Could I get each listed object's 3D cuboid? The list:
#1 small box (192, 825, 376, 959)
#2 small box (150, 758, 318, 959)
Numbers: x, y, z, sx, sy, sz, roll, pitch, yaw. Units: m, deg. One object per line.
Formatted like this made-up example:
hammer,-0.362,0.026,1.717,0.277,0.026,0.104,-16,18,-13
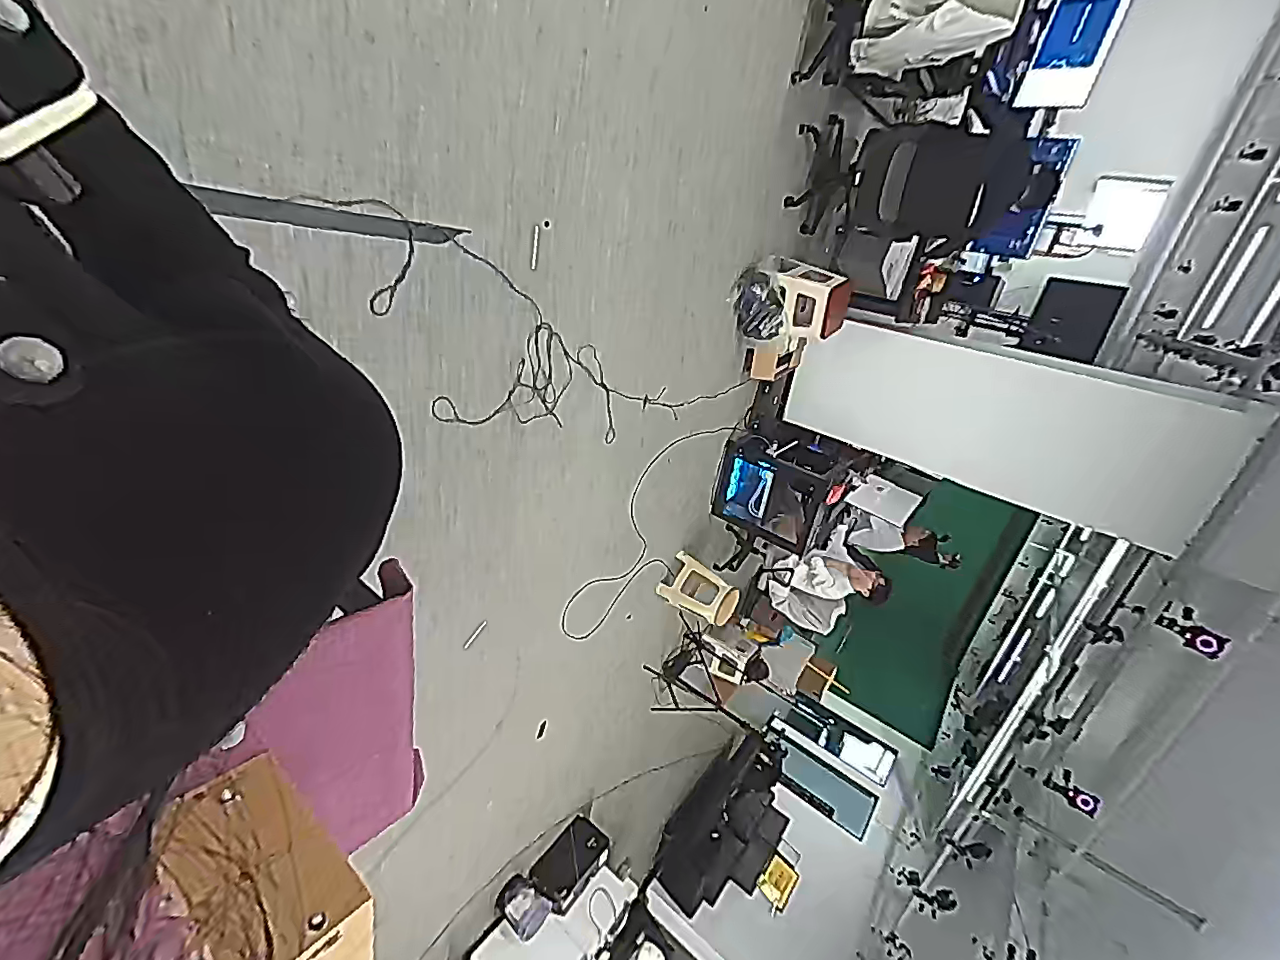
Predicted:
small box,-0.498,0.644,0.762,0.168,0.176,0.179,-18,127,-51
small box,-0.626,0.583,0.844,0.168,0.176,0.179,-19,126,-51
